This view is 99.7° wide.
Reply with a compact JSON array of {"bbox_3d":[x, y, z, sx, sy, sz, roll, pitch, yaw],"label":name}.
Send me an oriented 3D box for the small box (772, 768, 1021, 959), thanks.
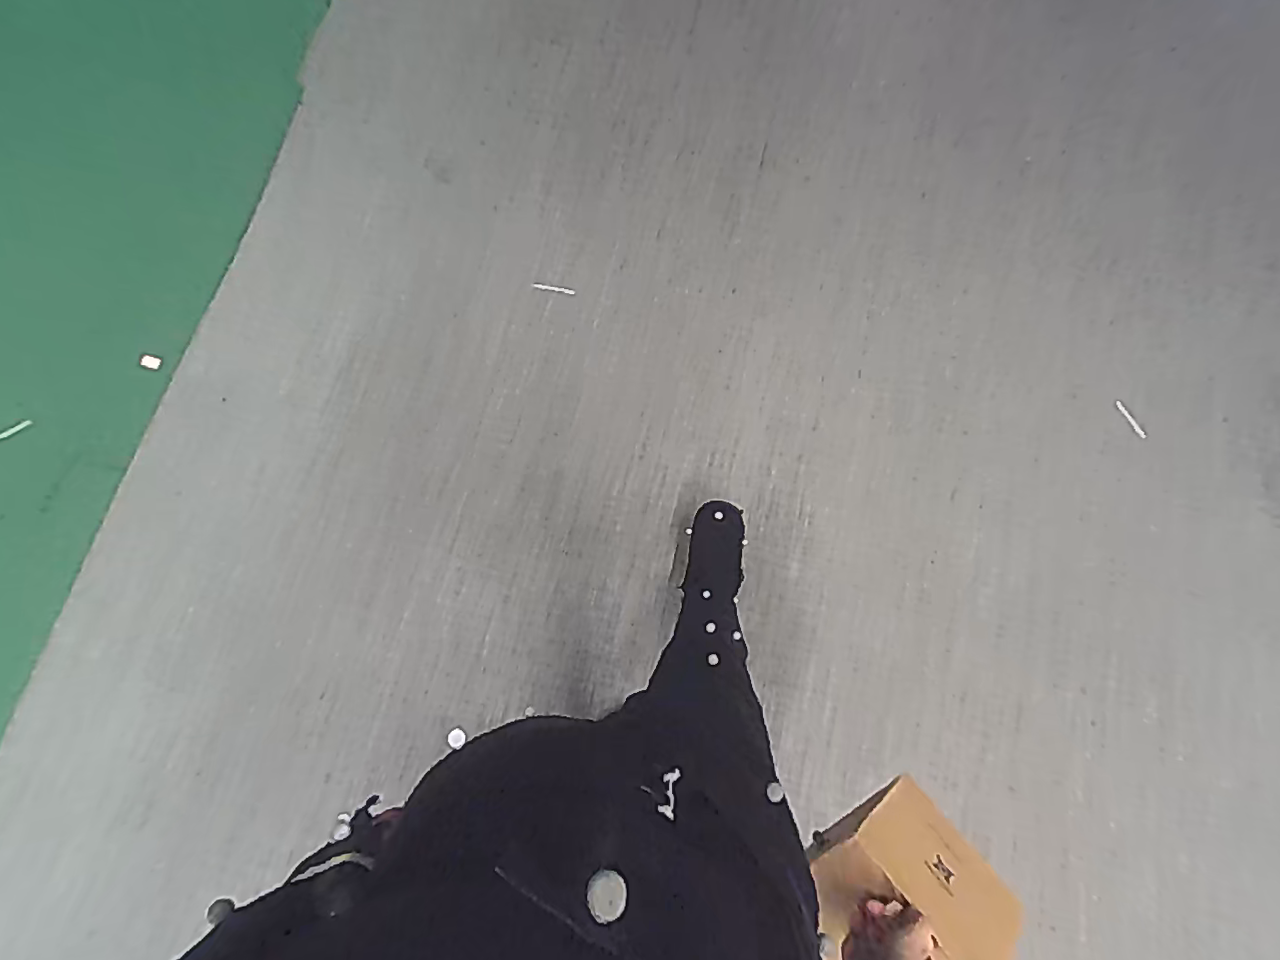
[{"bbox_3d":[0.277,0.470,0.606,0.168,0.179,0.176,50,118,31],"label":"small box"}]
